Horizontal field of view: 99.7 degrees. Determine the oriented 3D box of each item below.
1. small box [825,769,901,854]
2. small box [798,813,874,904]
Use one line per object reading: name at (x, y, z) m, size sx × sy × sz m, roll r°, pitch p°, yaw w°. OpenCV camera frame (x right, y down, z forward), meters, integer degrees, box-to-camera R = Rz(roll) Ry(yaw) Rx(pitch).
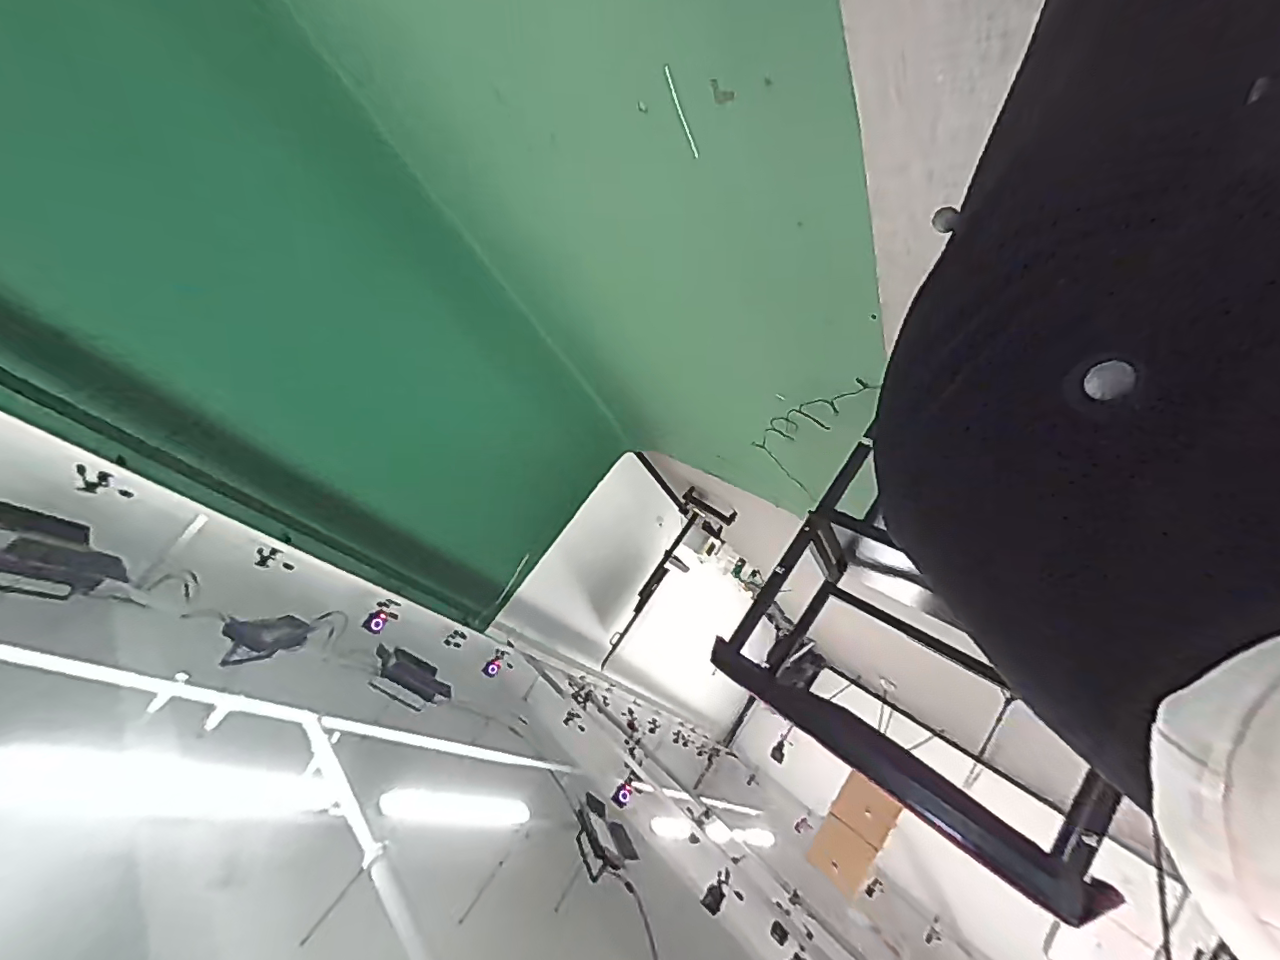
small box at (0.741, 1.087, 1.779) m, size 0.179 × 0.176 × 0.168 m, roll 28°, pitch 165°, yaw 38°
small box at (0.643, 1.215, 1.750) m, size 0.179 × 0.176 × 0.168 m, roll 30°, pitch 167°, yaw 36°
